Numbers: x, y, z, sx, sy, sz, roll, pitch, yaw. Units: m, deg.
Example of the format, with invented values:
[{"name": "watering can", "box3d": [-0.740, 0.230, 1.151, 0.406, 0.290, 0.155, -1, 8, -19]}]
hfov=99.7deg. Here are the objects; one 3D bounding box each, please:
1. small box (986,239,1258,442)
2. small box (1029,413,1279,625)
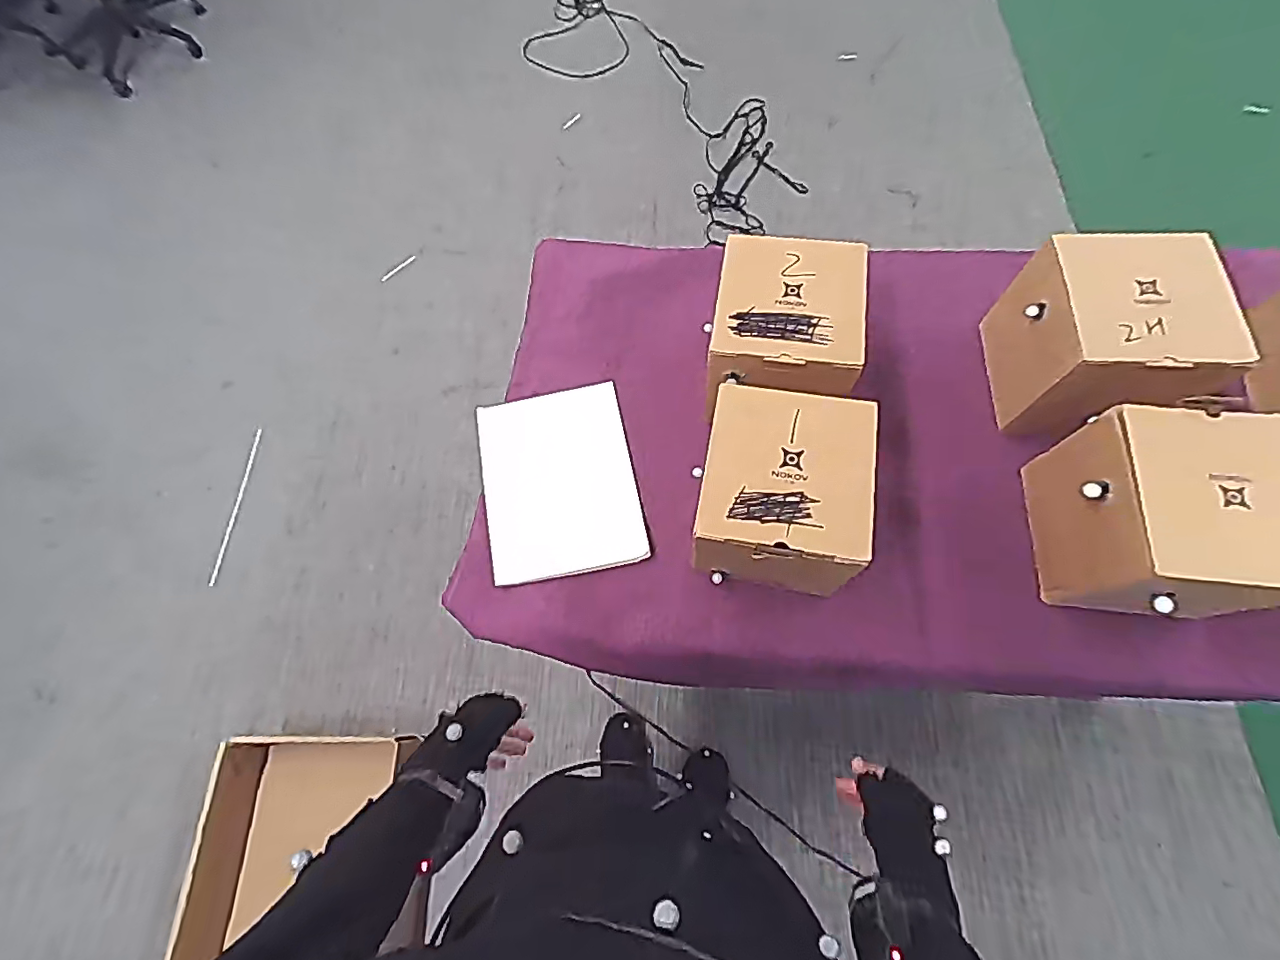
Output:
[{"name": "small box", "box3d": [0.549, -0.159, 0.651, 0.168, 0.176, 0.179, 3, 69, 6]}, {"name": "small box", "box3d": [0.550, 0.050, 0.569, 0.168, 0.176, 0.179, 5, 69, 7]}]
